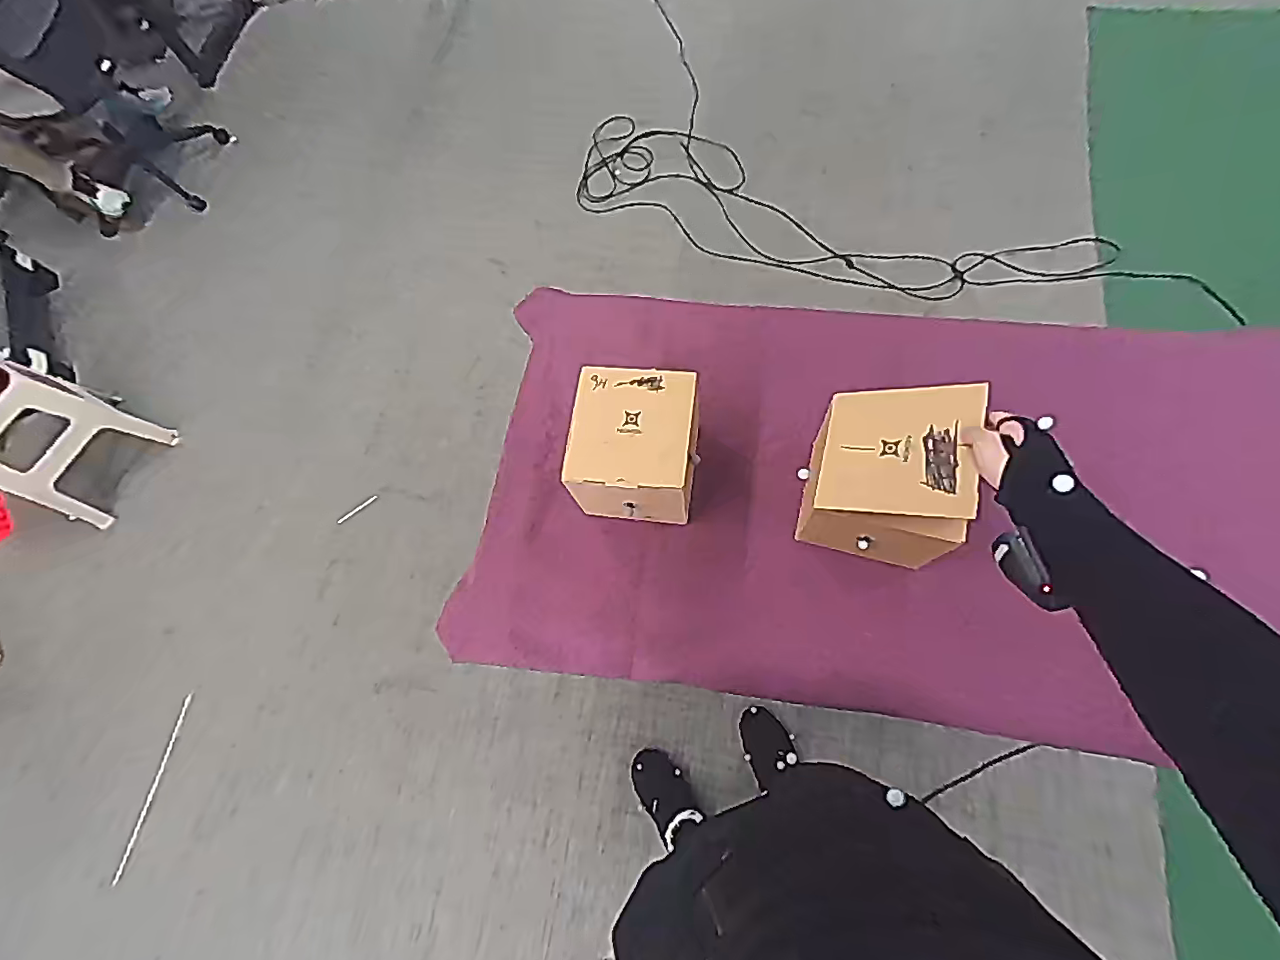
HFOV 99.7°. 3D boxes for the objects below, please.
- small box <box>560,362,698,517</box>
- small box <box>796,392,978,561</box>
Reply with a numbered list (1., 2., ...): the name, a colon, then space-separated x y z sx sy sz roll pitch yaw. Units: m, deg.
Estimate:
1. small box: -0.005 -0.051 0.799 0.168 0.176 0.179 6 72 8
2. small box: 0.324 0.004 0.737 0.179 0.176 0.168 13 72 13
